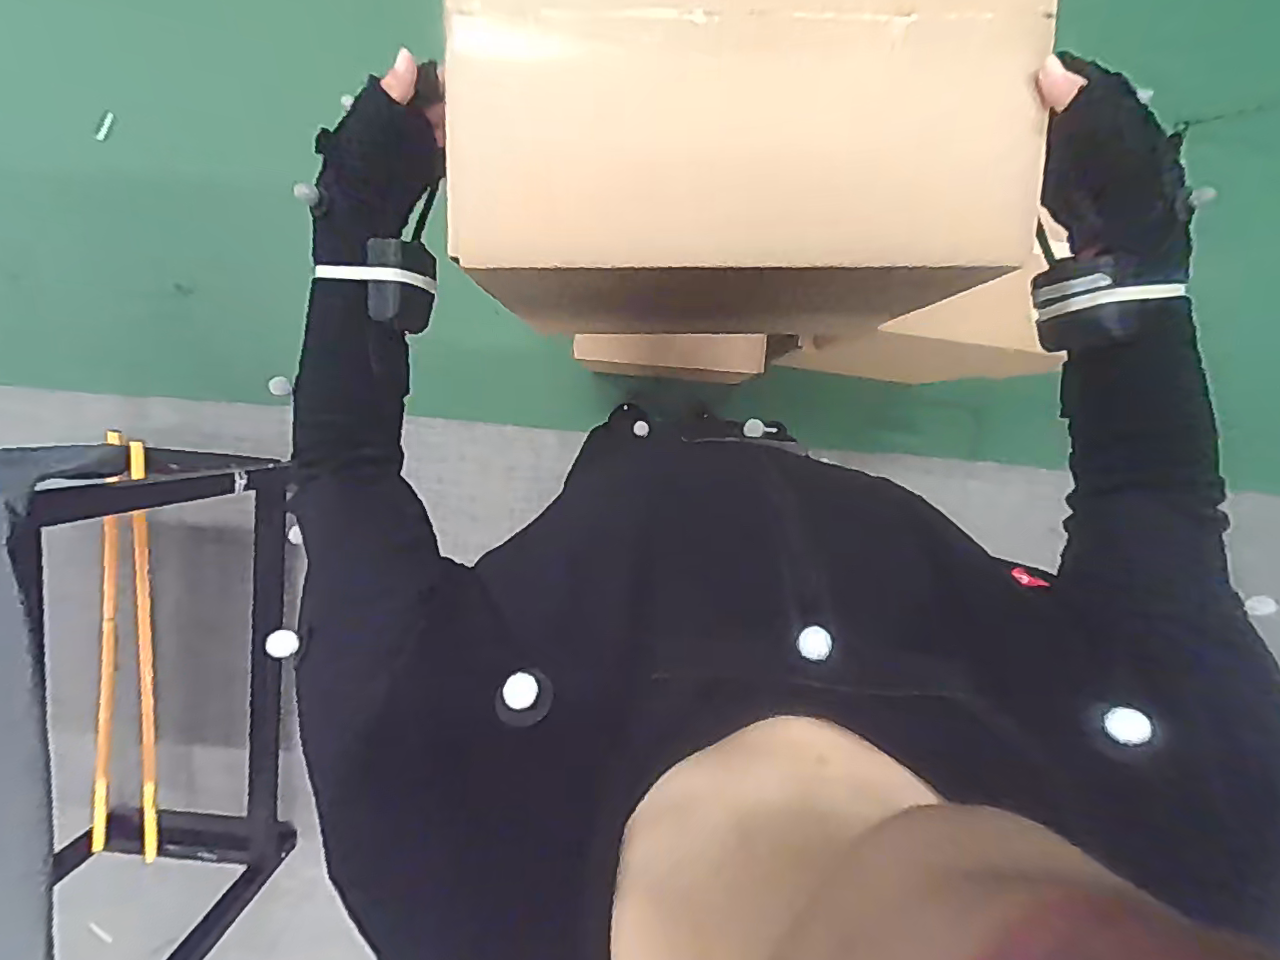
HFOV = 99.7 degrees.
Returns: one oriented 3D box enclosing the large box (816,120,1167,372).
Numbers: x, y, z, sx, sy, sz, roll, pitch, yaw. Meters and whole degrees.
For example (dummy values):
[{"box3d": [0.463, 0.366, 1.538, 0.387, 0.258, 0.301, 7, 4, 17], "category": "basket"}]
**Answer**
[{"box3d": [0.577, -0.381, 0.971, 0.408, 0.320, 0.320, 7, 97, -1], "category": "large box"}]
